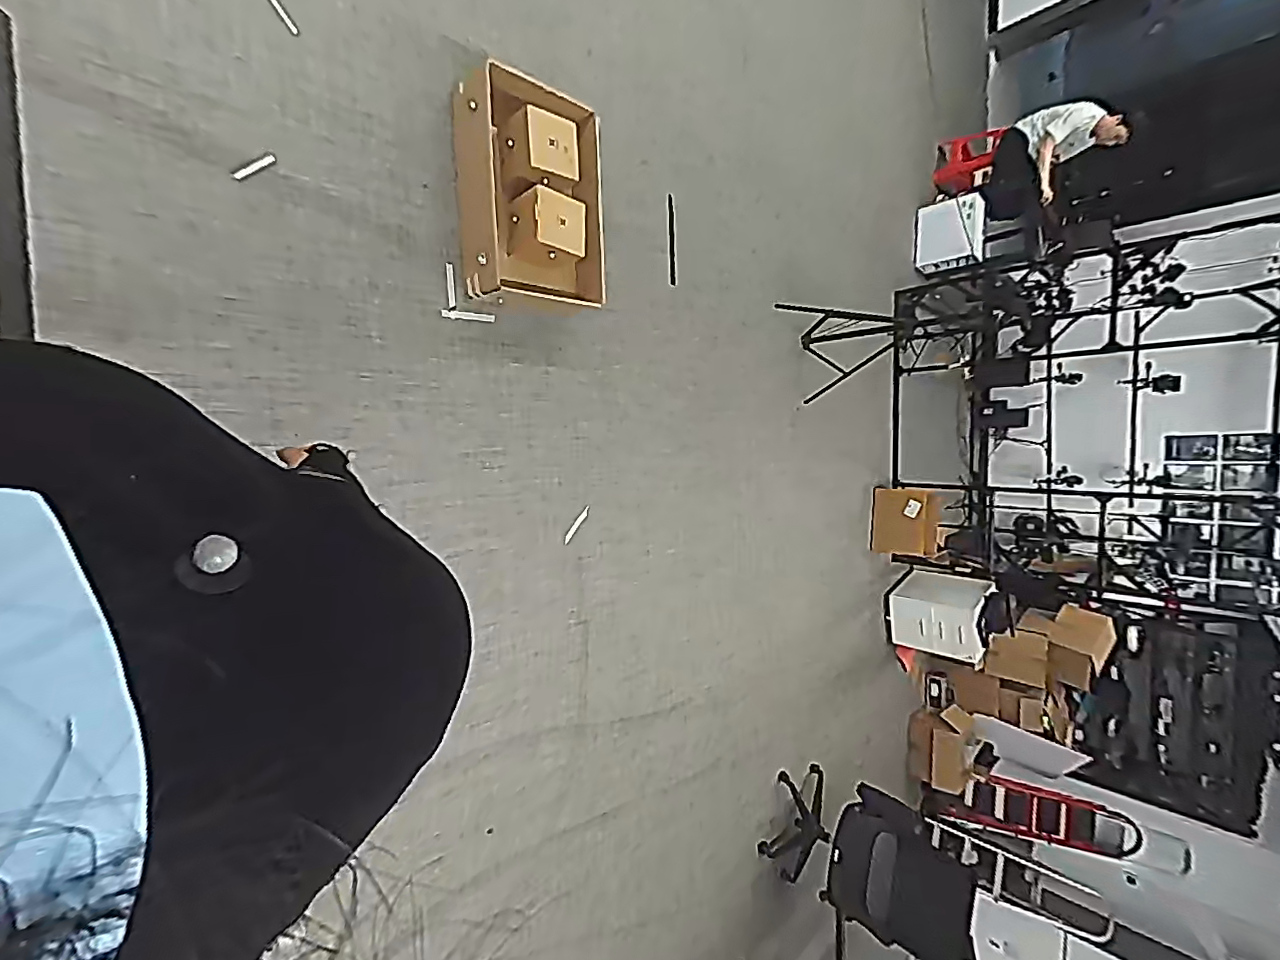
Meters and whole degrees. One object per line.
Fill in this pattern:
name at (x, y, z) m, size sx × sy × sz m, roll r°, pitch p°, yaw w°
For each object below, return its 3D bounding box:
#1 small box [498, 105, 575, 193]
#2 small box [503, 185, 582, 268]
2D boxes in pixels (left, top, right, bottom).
small box at (-0.318, -0.985, 1.635) m, size 0.179 × 0.176 × 0.168 m, roll -9°, pitch 101°, yaw -44°
small box at (-0.300, -0.771, 1.669) m, size 0.179 × 0.176 × 0.168 m, roll 1°, pitch 91°, yaw -45°
